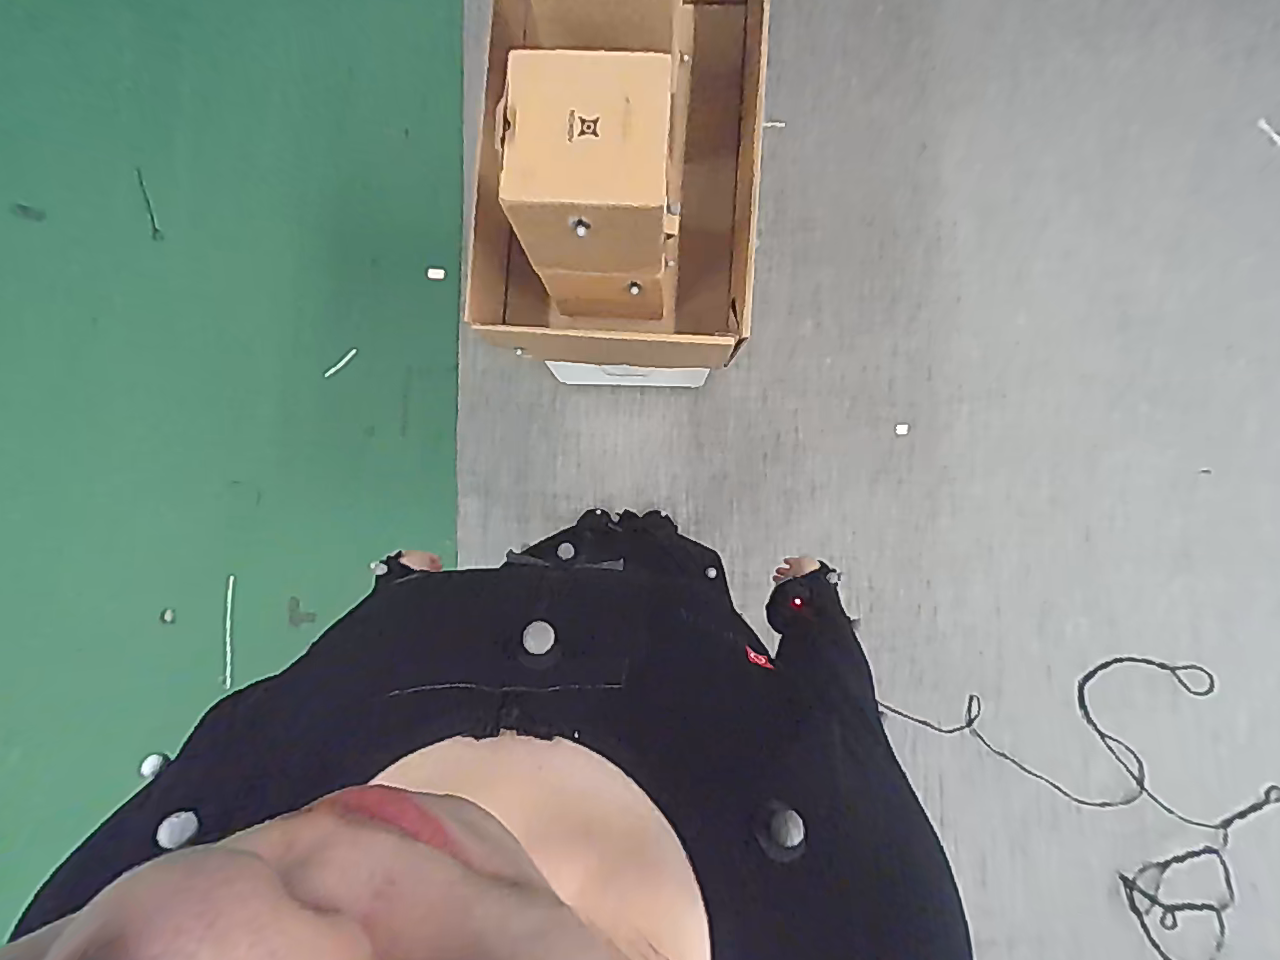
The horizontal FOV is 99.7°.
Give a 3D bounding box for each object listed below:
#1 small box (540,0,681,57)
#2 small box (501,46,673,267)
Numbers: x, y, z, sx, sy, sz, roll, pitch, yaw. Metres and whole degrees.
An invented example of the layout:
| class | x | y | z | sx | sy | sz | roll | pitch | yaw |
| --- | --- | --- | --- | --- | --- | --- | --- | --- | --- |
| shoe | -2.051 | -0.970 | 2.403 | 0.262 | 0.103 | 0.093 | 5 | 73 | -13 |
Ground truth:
| class | x | y | z | sx | sy | sz | roll | pitch | yaw |
| --- | --- | --- | --- | --- | --- | --- | --- | --- | --- |
| small box | -0.032 | -0.625 | 0.651 | 0.168 | 0.176 | 0.179 | 5 | 91 | 1 |
| small box | -0.054 | -0.371 | 0.649 | 0.179 | 0.176 | 0.168 | 3 | 89 | 1 |
